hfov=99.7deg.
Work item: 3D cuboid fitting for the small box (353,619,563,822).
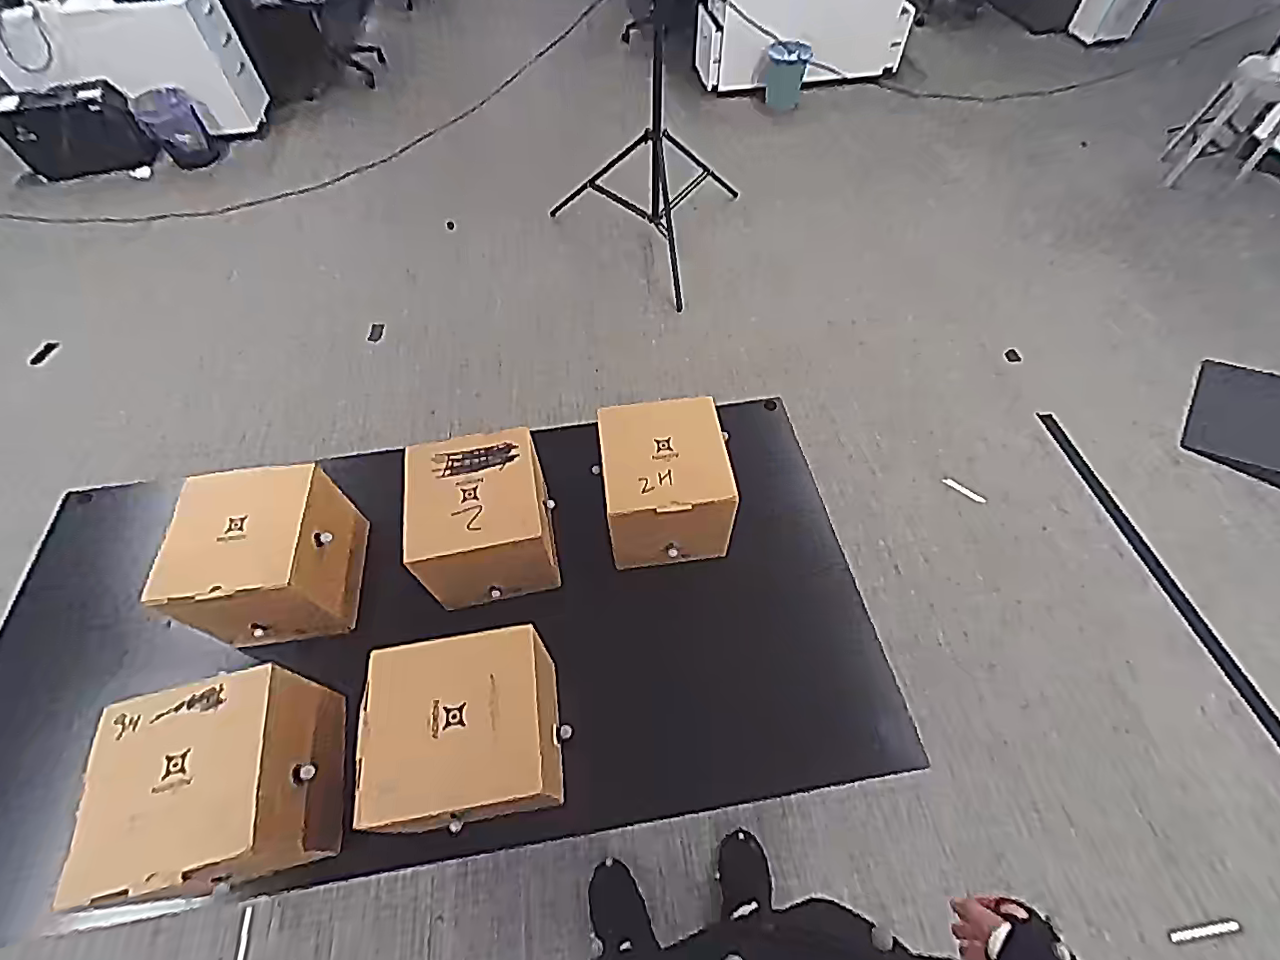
[{"bbox_3d":[-0.191,0.276,0.612,0.179,0.176,0.168,-9,57,-5],"label":"small box"}]

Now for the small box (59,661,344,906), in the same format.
[{"bbox_3d":[-0.444,0.321,0.587,0.168,0.176,0.179,-14,58,-8],"label":"small box"}]

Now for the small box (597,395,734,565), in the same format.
[{"bbox_3d":[0.029,0.003,0.783,0.168,0.176,0.179,-7,57,-2],"label":"small box"}]

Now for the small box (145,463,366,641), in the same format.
[{"bbox_3d":[-0.496,0.101,0.734,0.168,0.176,0.179,-7,57,-4],"label":"small box"}]
